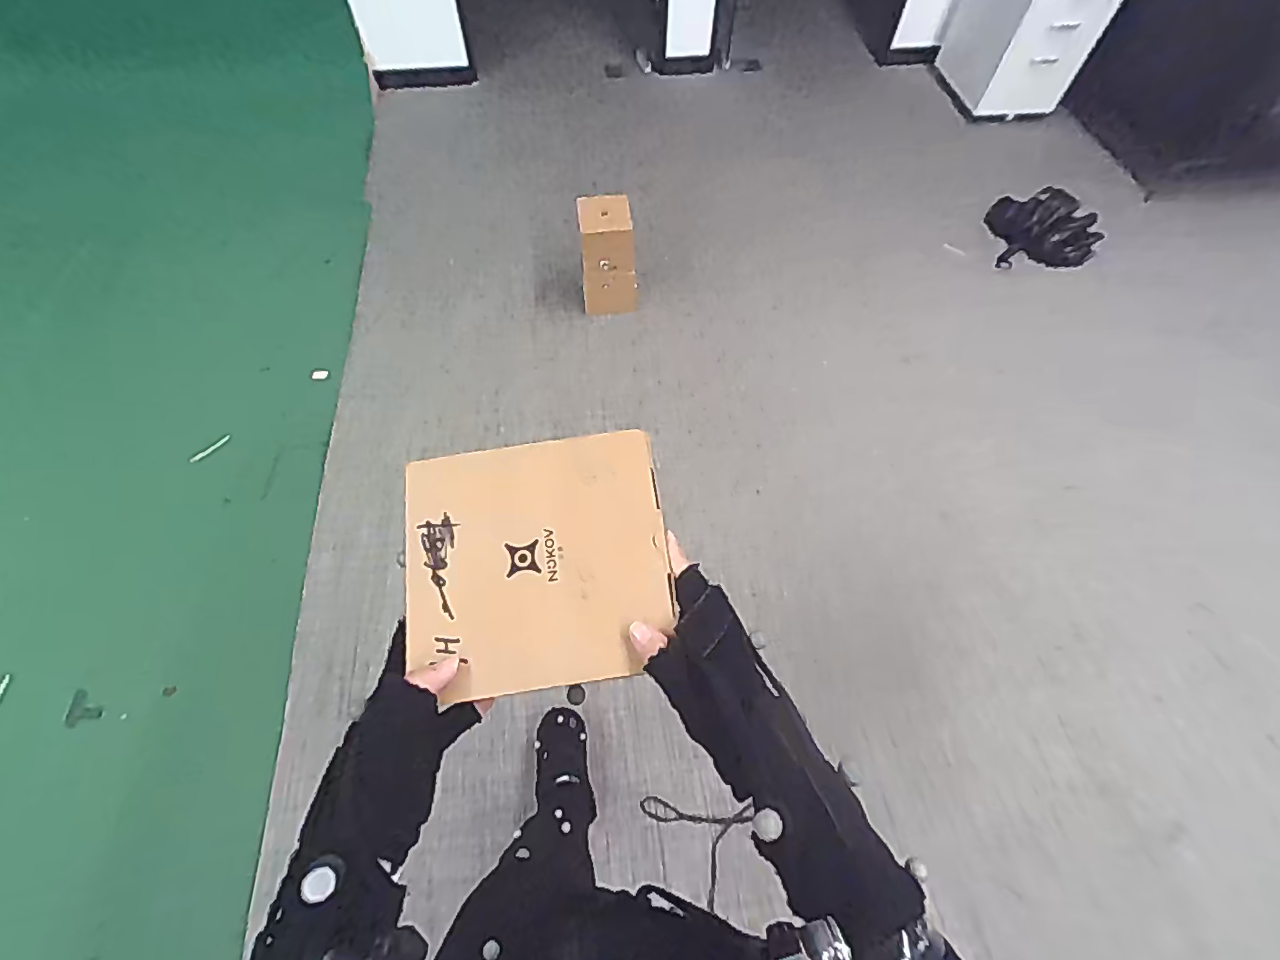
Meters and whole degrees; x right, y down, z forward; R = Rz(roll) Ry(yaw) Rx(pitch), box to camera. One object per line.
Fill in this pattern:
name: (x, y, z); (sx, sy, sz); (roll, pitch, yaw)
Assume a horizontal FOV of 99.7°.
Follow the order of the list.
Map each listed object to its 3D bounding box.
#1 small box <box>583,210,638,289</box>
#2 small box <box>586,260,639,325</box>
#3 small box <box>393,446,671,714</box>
small box: (-0.096, -0.757, 1.781); (0.168, 0.176, 0.179); (-7, 61, -3)
small box: (-0.096, -0.667, 1.916); (0.179, 0.176, 0.168); (-5, 60, -4)
small box: (-0.075, 0.086, 0.438); (0.179, 0.176, 0.168); (-7, 70, -1)
